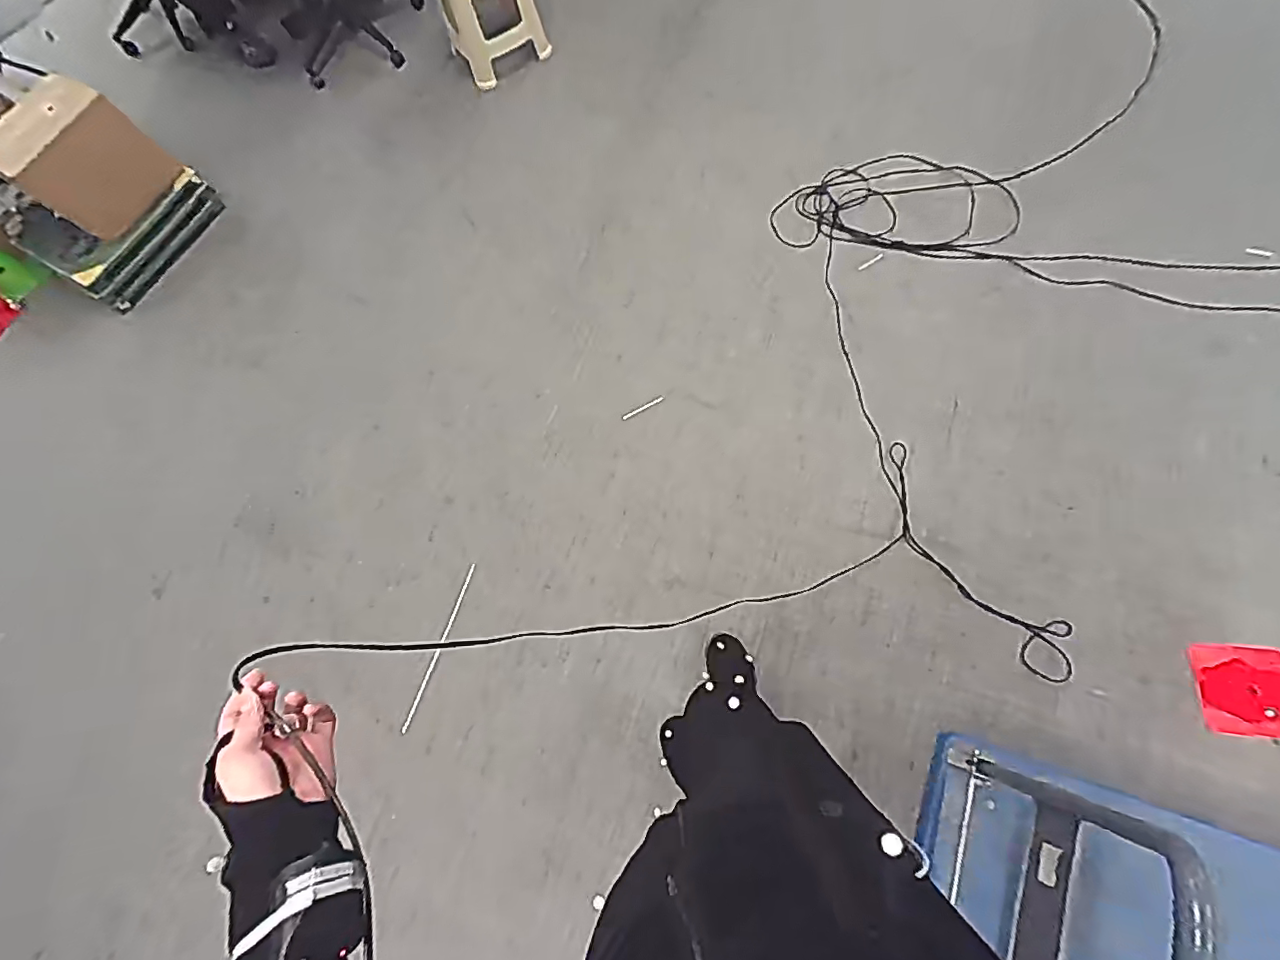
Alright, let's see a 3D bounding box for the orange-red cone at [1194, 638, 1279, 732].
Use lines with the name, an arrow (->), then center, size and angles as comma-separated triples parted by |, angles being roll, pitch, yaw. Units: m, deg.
orange-red cone -> 1.390, 0.418, 1.092 | 0.198, 0.360, 0.199 | 3, 71, 8
